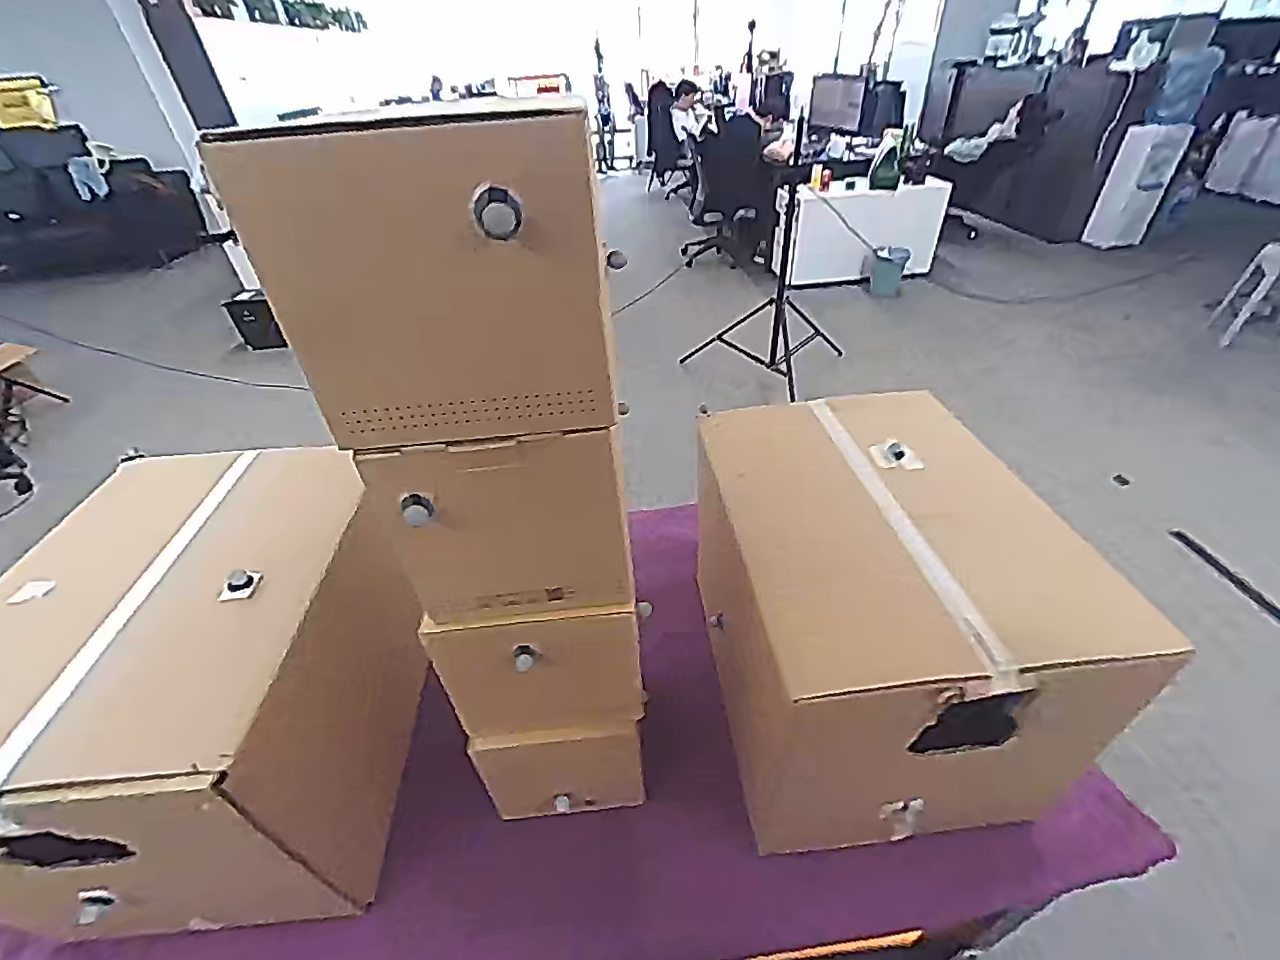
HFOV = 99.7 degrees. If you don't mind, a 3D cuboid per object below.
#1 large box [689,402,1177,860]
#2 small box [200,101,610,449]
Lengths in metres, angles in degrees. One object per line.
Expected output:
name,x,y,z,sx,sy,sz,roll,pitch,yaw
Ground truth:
large box,0.247,0.150,0.644,0.320,0.320,0.408,-6,37,-3
small box,-0.111,-0.136,0.354,0.179,0.176,0.168,-6,36,0
